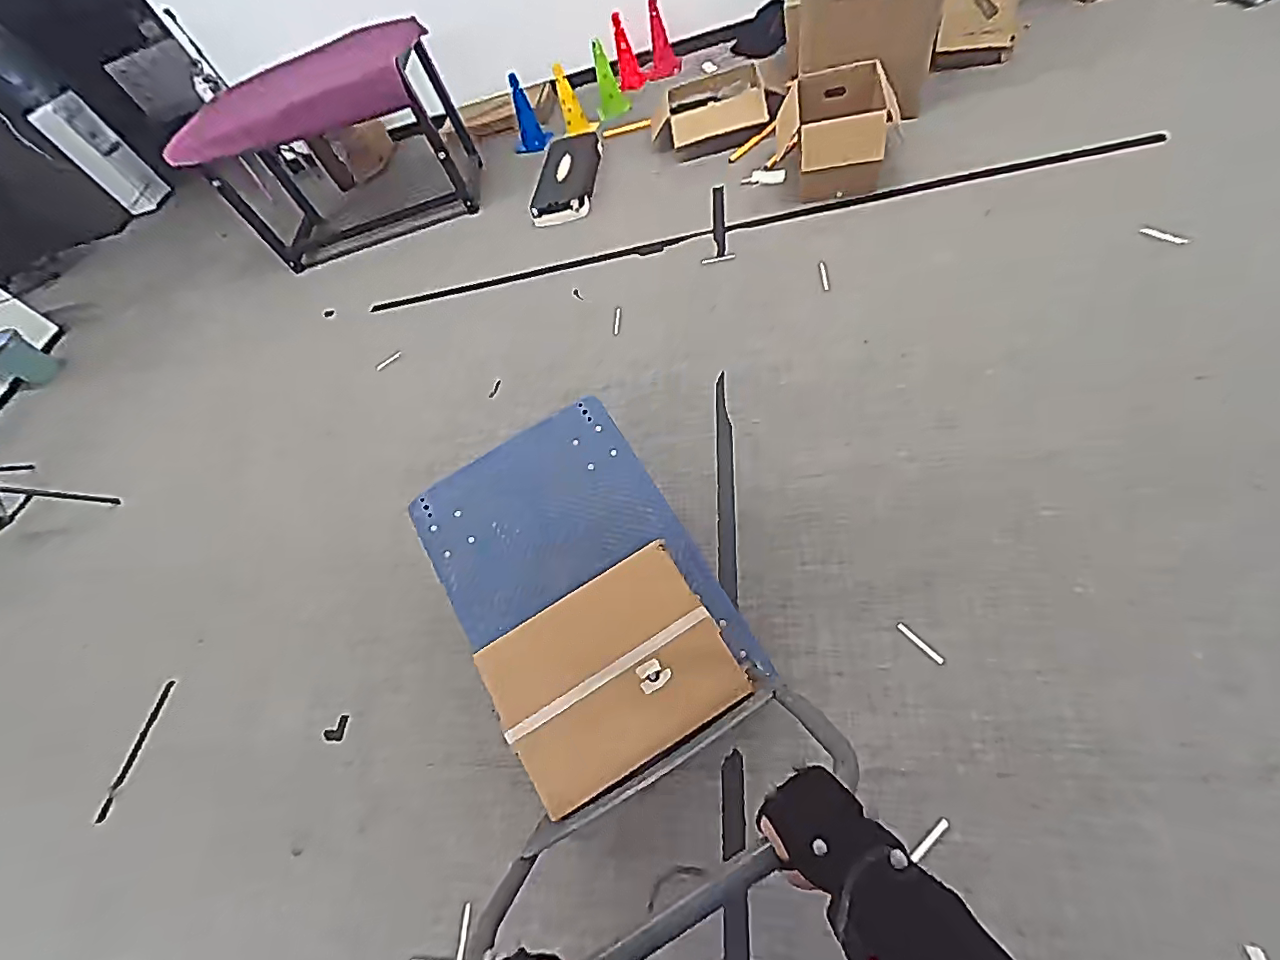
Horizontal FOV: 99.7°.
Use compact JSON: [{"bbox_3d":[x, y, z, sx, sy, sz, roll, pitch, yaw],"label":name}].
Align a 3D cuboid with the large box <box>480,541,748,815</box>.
[{"bbox_3d":[-0.042,0.388,1.114,0.408,0.320,0.320,-32,74,-6],"label":"large box"}]
